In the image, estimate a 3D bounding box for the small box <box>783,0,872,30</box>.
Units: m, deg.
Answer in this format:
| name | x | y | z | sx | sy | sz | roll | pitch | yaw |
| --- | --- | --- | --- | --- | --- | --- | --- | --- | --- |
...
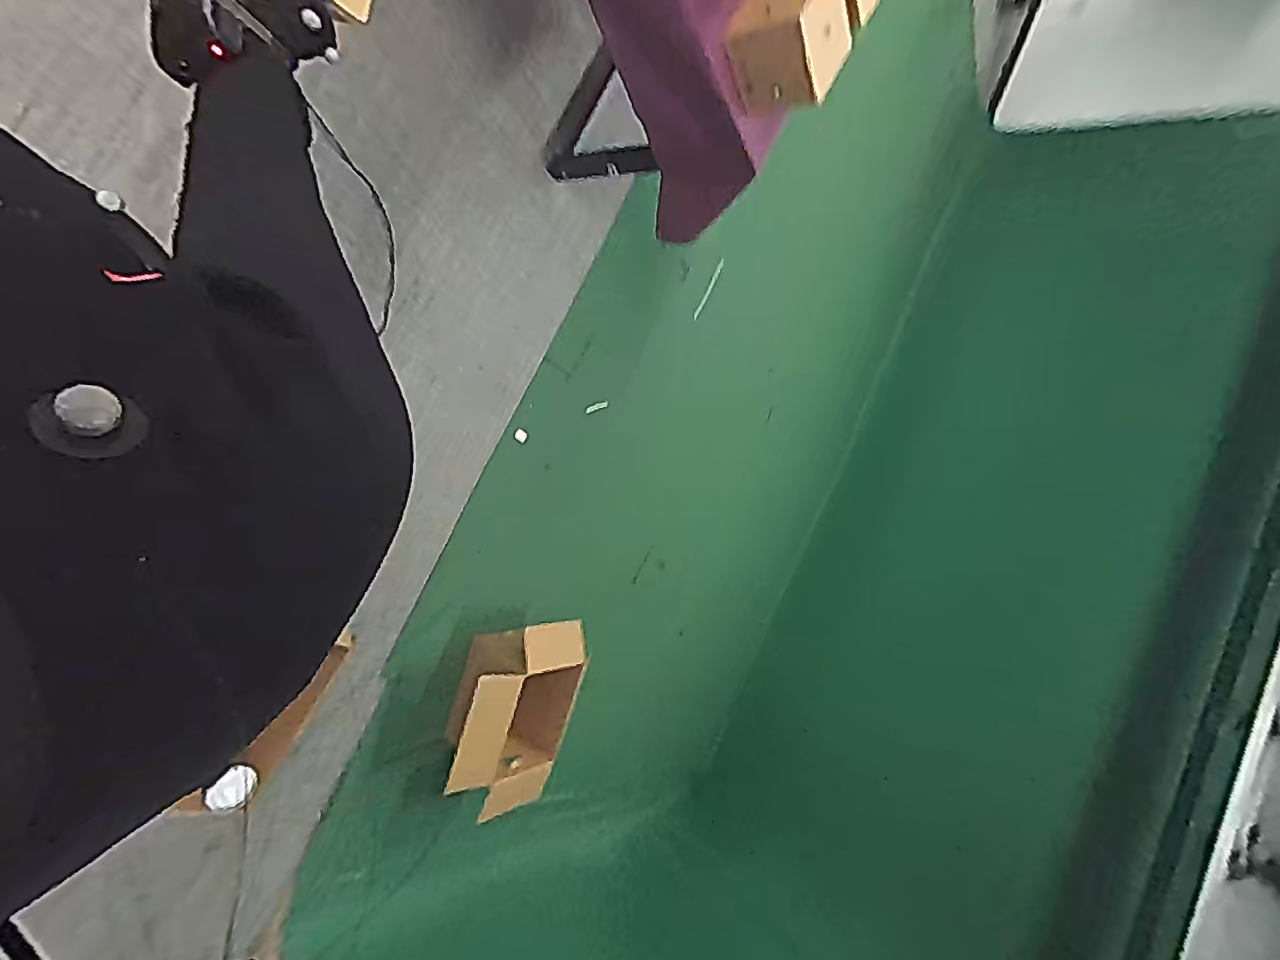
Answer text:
| name | x | y | z | sx | sy | sz | roll | pitch | yaw |
| --- | --- | --- | --- | --- | --- | --- | --- | --- | --- |
| small box | 0.397 | -1.078 | 1.112 | 0.179 | 0.176 | 0.168 | -59 | 142 | -12 |
